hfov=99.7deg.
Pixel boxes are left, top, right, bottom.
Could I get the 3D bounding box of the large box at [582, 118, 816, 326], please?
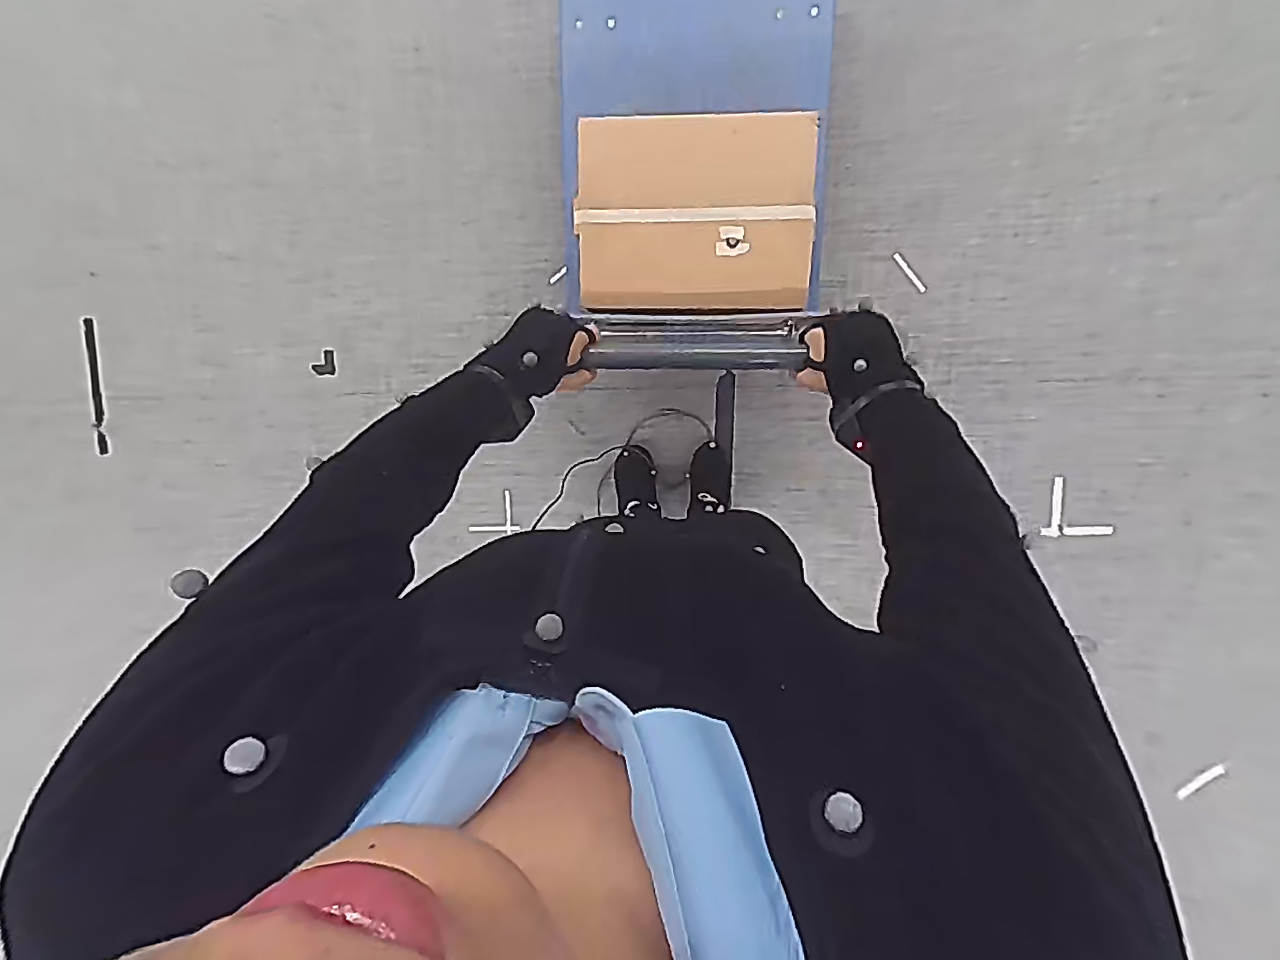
[{"bbox_3d":[0.107,-0.489,1.096,0.408,0.320,0.320,1,102,3],"label":"large box"}]
